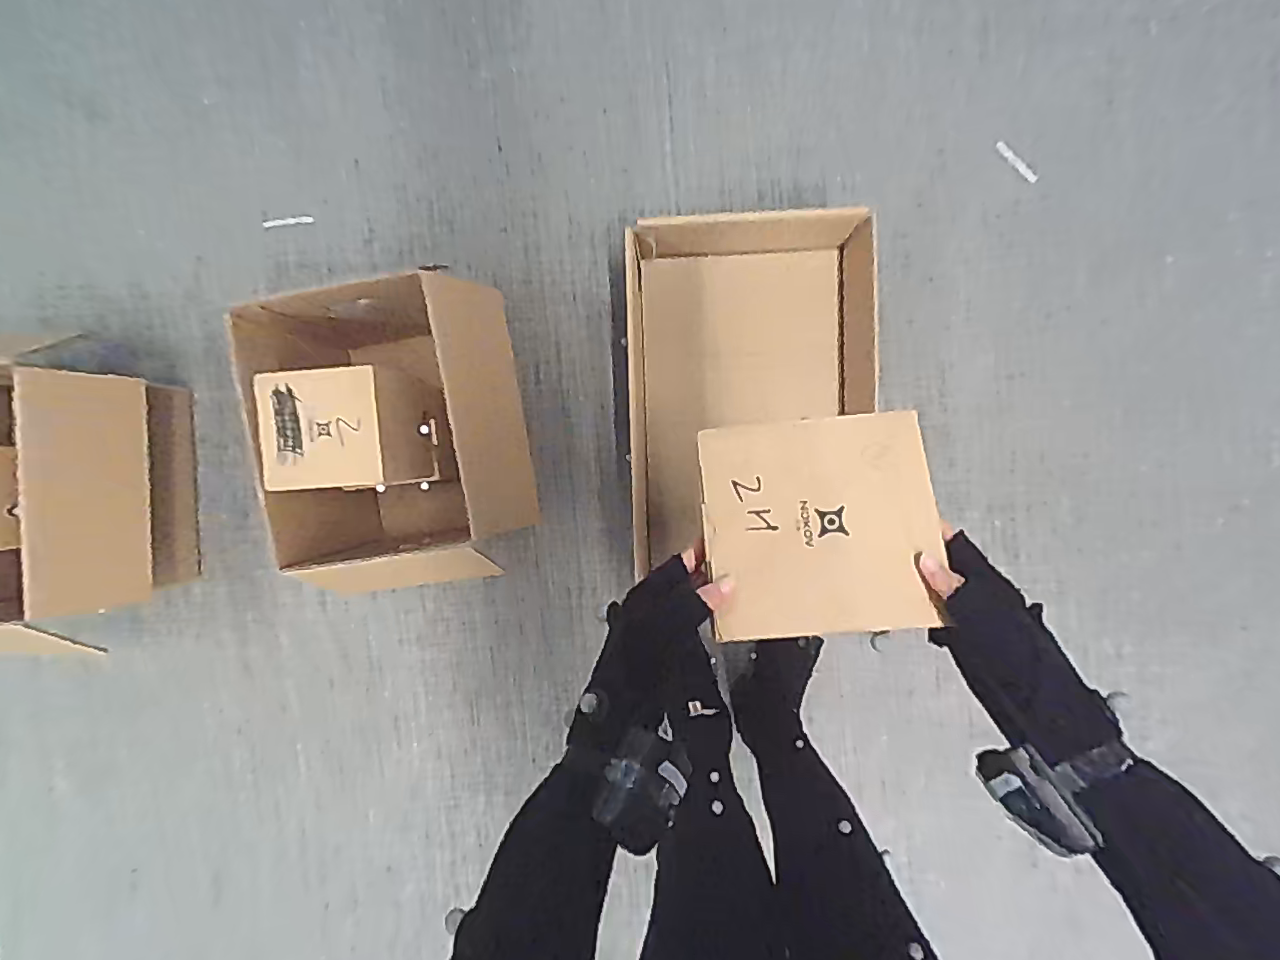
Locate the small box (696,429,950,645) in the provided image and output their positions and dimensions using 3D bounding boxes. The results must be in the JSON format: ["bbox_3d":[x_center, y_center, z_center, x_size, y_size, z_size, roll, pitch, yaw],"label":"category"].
[{"bbox_3d":[0.147,0.062,0.505,0.179,0.176,0.168,-5,73,4],"label":"small box"}]
